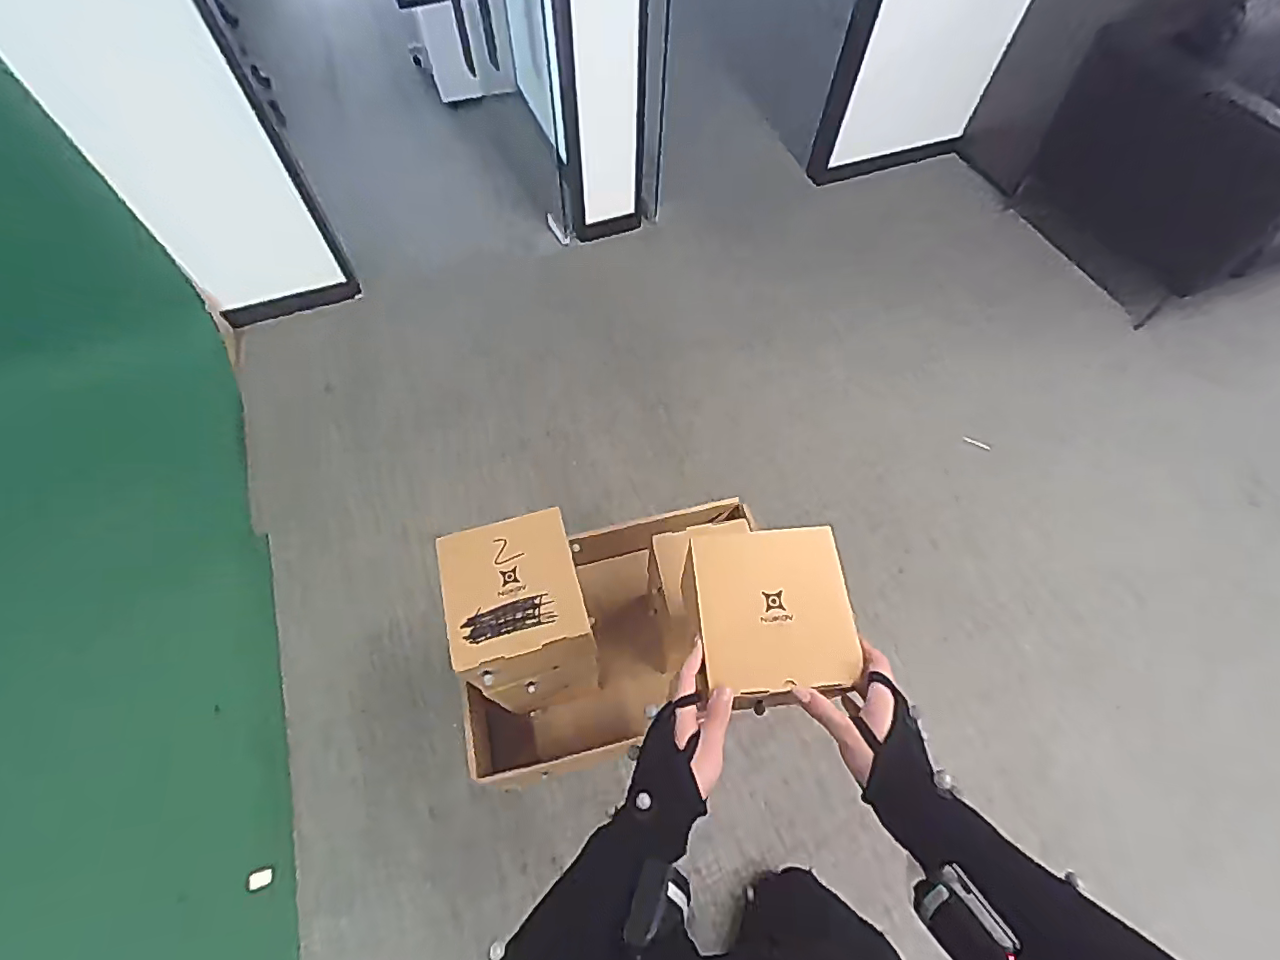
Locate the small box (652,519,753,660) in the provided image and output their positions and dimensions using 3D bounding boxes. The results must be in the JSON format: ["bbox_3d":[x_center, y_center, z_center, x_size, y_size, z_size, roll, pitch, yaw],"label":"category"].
[{"bbox_3d":[0.117,0.189,0.915,0.168,0.176,0.179,-9,62,-7],"label":"small box"}]

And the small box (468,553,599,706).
[{"bbox_3d":[-0.166,0.245,0.873,0.168,0.176,0.179,-15,62,-9],"label":"small box"}]

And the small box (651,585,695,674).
[{"bbox_3d":[0.117,0.265,1.059,0.168,0.176,0.179,-9,62,-6],"label":"small box"}]

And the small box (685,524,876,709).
[{"bbox_3d":[0.149,0.168,0.646,0.168,0.176,0.179,-4,63,-2],"label":"small box"}]
